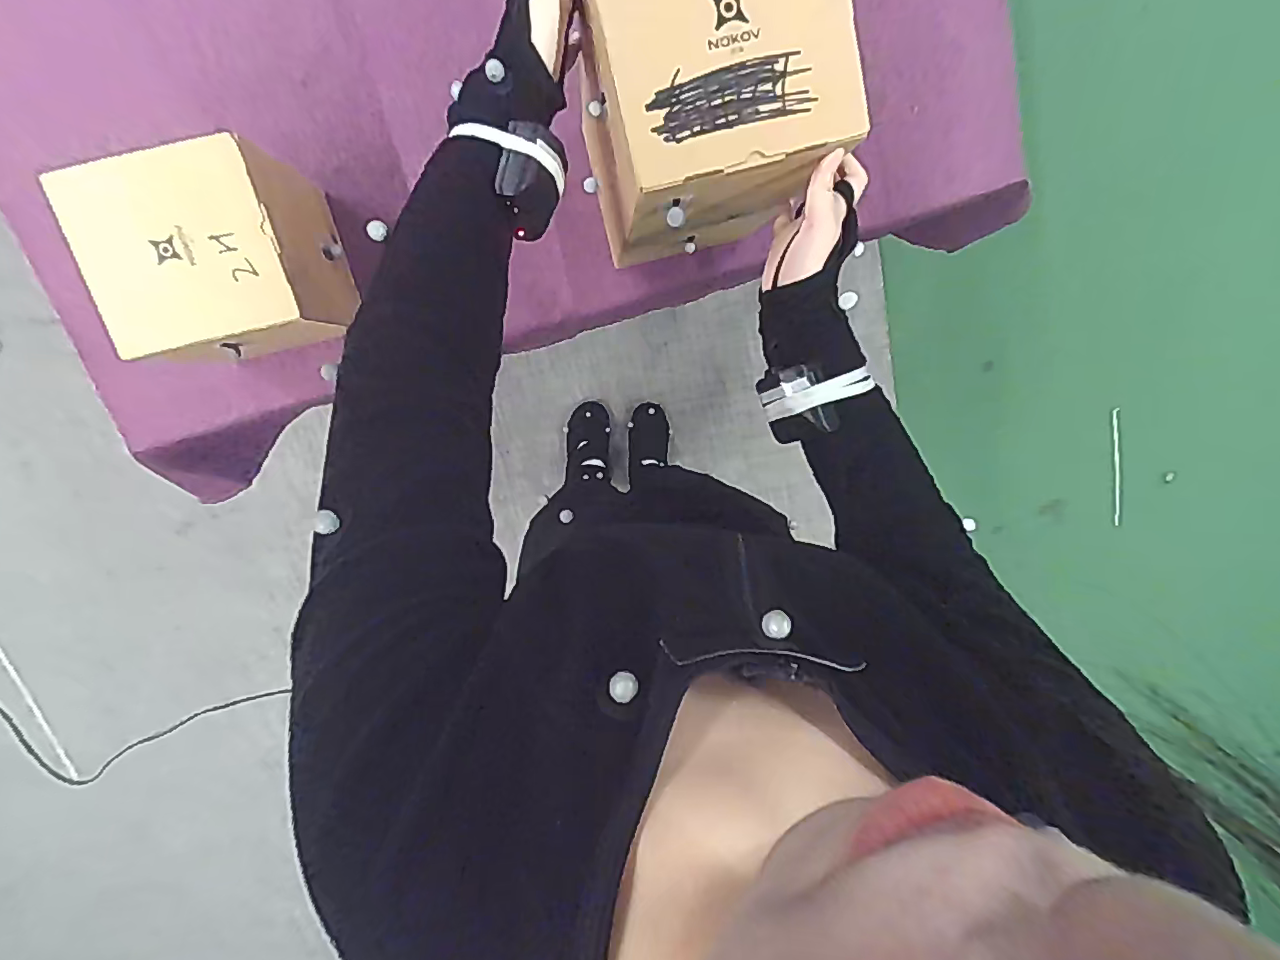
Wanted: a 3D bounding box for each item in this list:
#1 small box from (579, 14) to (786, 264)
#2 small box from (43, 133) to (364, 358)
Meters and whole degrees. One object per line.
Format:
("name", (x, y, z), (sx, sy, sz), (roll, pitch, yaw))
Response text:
("small box", (0.037, -0.351, 0.592), (0.179, 0.176, 0.168), (-14, 102, -1))
("small box", (-0.434, -0.229, 0.574), (0.179, 0.176, 0.168), (-14, 103, -2))
